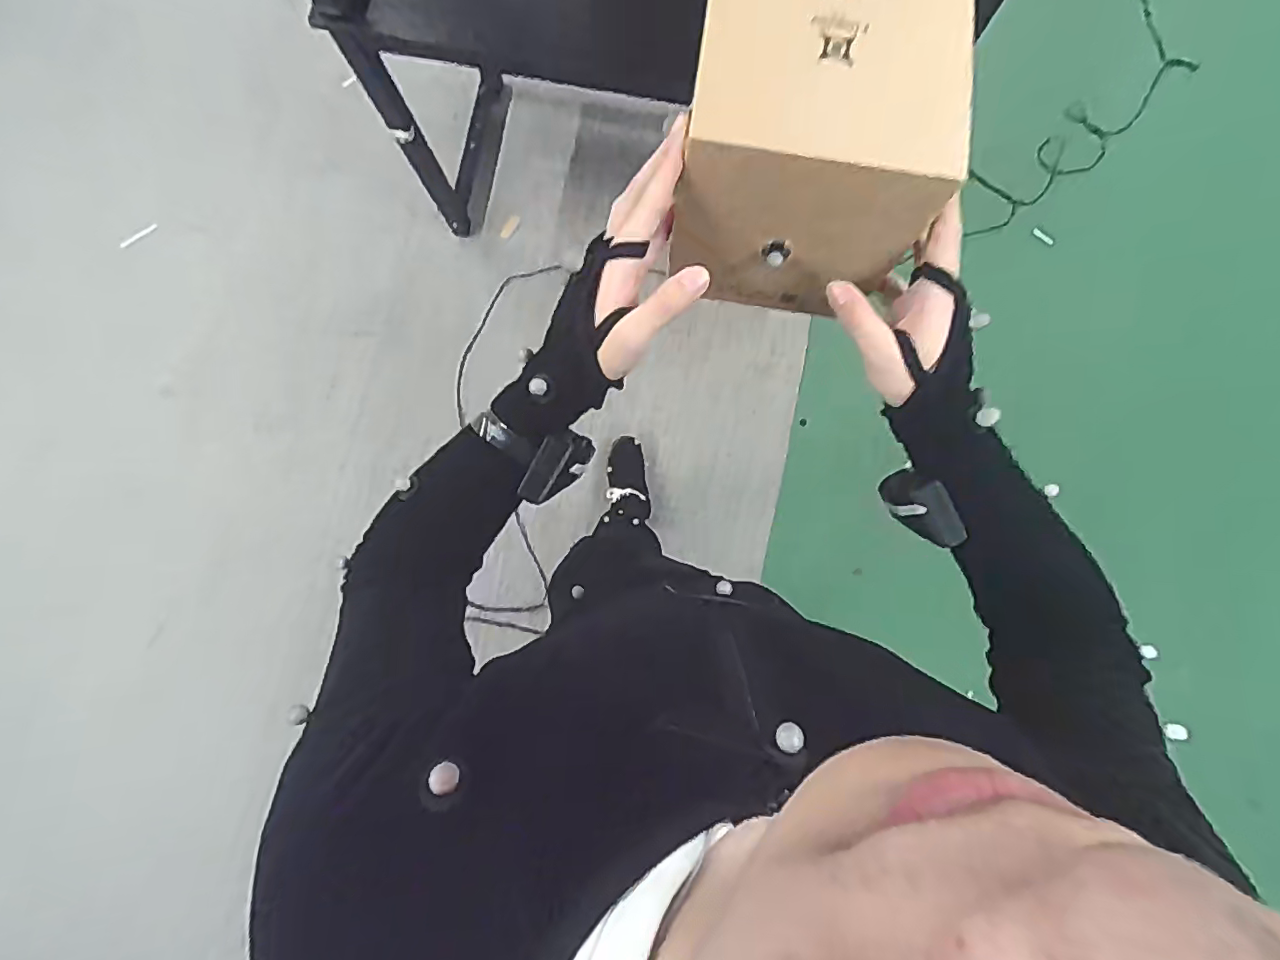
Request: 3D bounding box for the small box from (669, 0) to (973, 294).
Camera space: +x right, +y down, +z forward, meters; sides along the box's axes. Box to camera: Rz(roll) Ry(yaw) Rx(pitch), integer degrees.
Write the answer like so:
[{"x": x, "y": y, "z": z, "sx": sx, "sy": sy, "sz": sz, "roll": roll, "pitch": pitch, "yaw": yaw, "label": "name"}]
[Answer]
[{"x": 0.116, "y": -0.265, "z": 0.403, "sx": 0.168, "sy": 0.176, "sz": 0.179, "roll": 9, "pitch": 79, "yaw": 1, "label": "small box"}]
